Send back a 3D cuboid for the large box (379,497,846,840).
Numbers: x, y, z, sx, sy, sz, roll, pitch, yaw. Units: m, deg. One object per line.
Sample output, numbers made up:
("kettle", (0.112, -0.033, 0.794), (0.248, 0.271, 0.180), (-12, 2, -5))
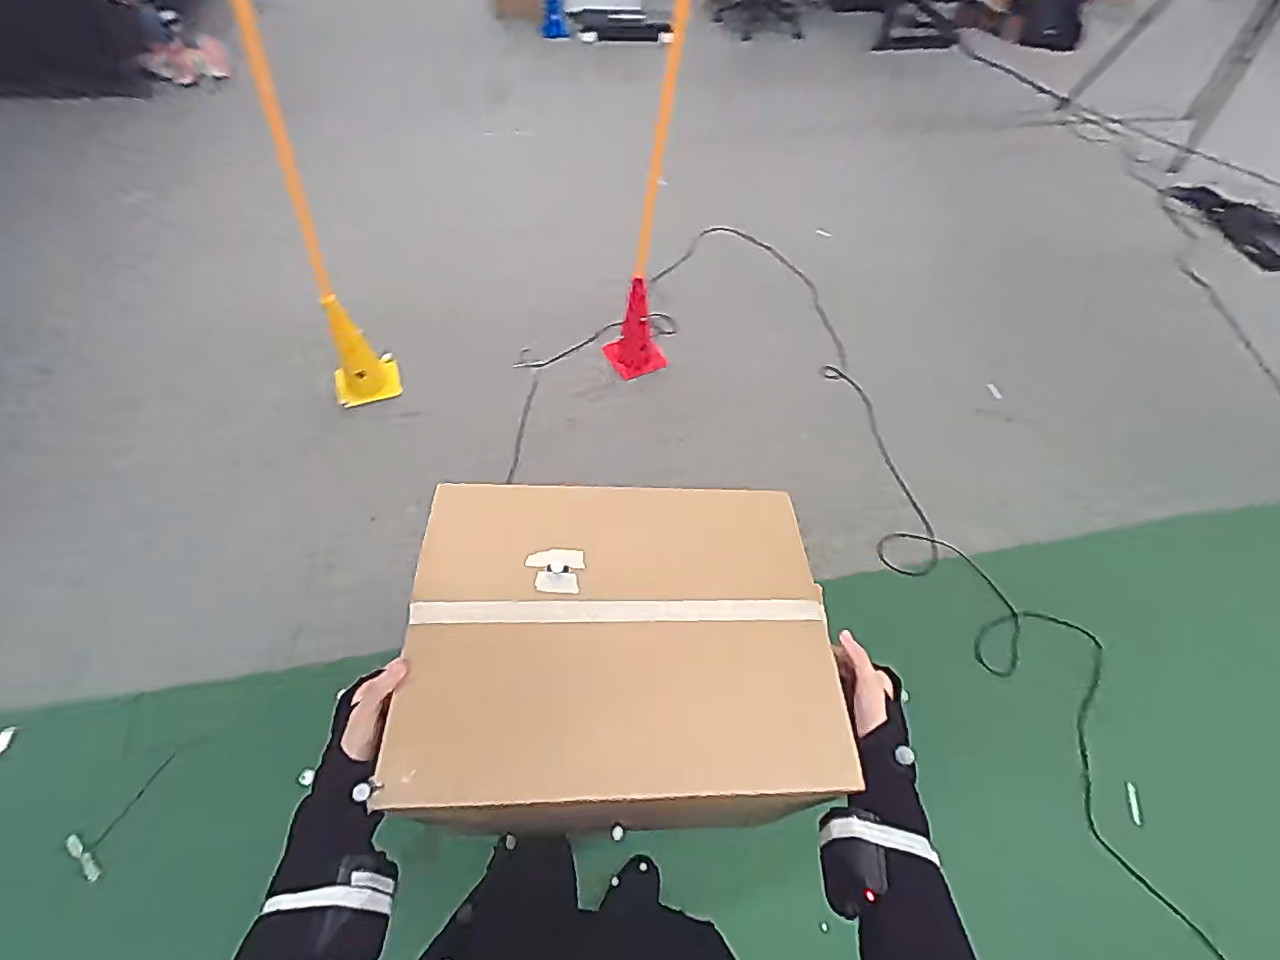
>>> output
("large box", (-0.034, 0.234, 0.659), (0.408, 0.320, 0.320), (0, 53, -6))
